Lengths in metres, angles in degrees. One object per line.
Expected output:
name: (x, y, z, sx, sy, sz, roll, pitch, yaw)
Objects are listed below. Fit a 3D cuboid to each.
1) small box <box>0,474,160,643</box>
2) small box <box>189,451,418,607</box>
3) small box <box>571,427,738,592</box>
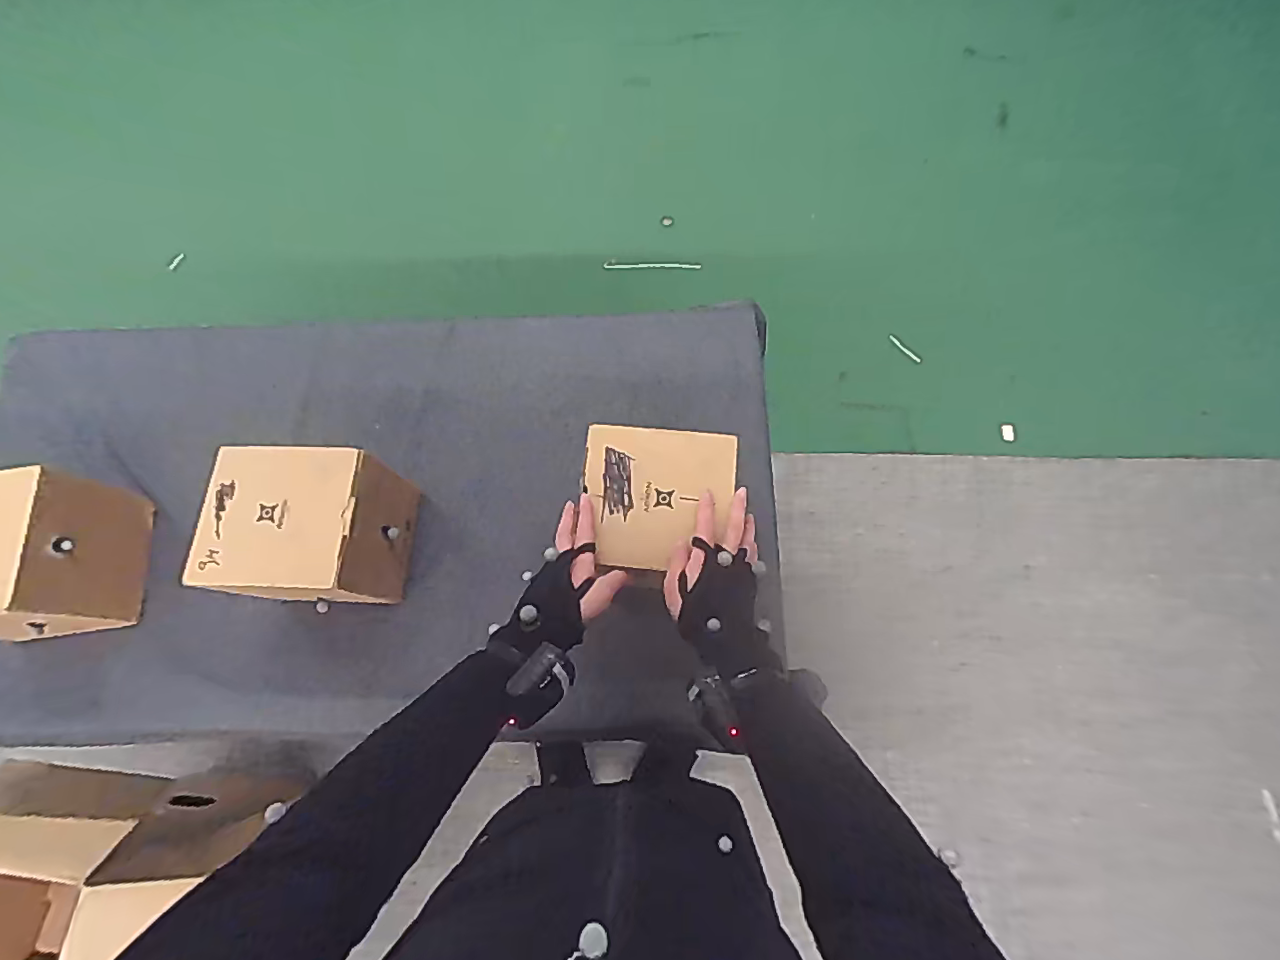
small box: (-0.777, 0.110, 0.698, 0.168, 0.176, 0.179, -9, 70, -2)
small box: (-0.409, 0.070, 0.695, 0.179, 0.176, 0.168, 1, 72, 2)
small box: (0.022, 0.045, 0.683, 0.179, 0.176, 0.168, 5, 73, 4)
